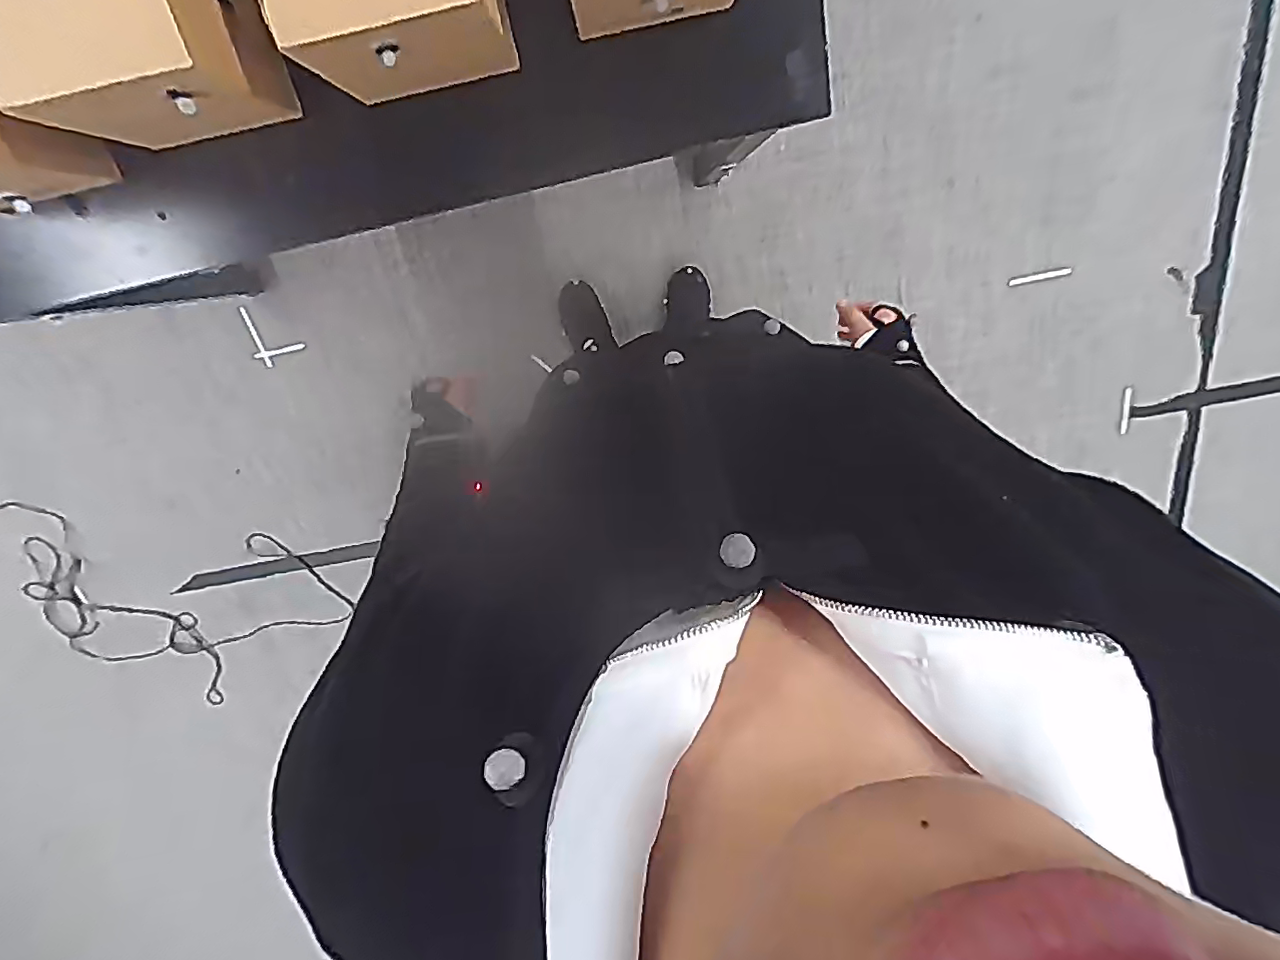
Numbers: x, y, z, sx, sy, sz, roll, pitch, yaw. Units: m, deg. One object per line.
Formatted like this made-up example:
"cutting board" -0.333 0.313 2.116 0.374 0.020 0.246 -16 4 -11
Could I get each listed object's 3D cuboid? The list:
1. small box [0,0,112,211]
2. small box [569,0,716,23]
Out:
"small box" -0.677 -0.367 0.502 0.168 0.176 0.179 -12 113 4
"small box" 0.000 -0.525 0.454 0.168 0.176 0.179 -10 113 2
